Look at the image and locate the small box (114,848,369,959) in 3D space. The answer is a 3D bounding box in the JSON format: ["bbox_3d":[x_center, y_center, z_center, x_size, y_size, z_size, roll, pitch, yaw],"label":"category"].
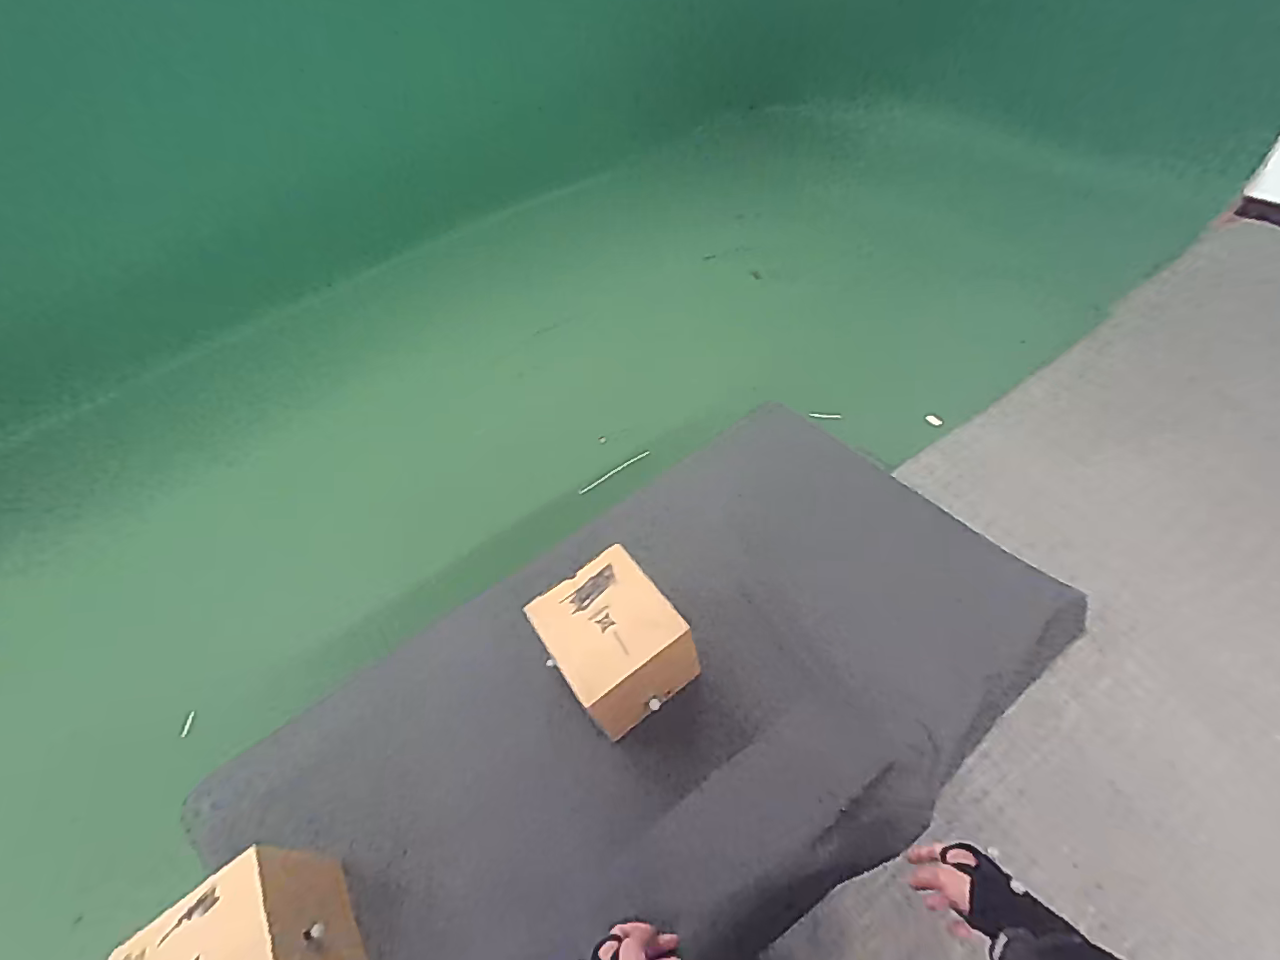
[{"bbox_3d":[-0.443,0.567,0.623,0.168,0.176,0.179,-35,54,-17],"label":"small box"}]

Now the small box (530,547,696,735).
[{"bbox_3d":[-0.034,0.240,0.799,0.168,0.176,0.179,-33,54,-15],"label":"small box"}]
